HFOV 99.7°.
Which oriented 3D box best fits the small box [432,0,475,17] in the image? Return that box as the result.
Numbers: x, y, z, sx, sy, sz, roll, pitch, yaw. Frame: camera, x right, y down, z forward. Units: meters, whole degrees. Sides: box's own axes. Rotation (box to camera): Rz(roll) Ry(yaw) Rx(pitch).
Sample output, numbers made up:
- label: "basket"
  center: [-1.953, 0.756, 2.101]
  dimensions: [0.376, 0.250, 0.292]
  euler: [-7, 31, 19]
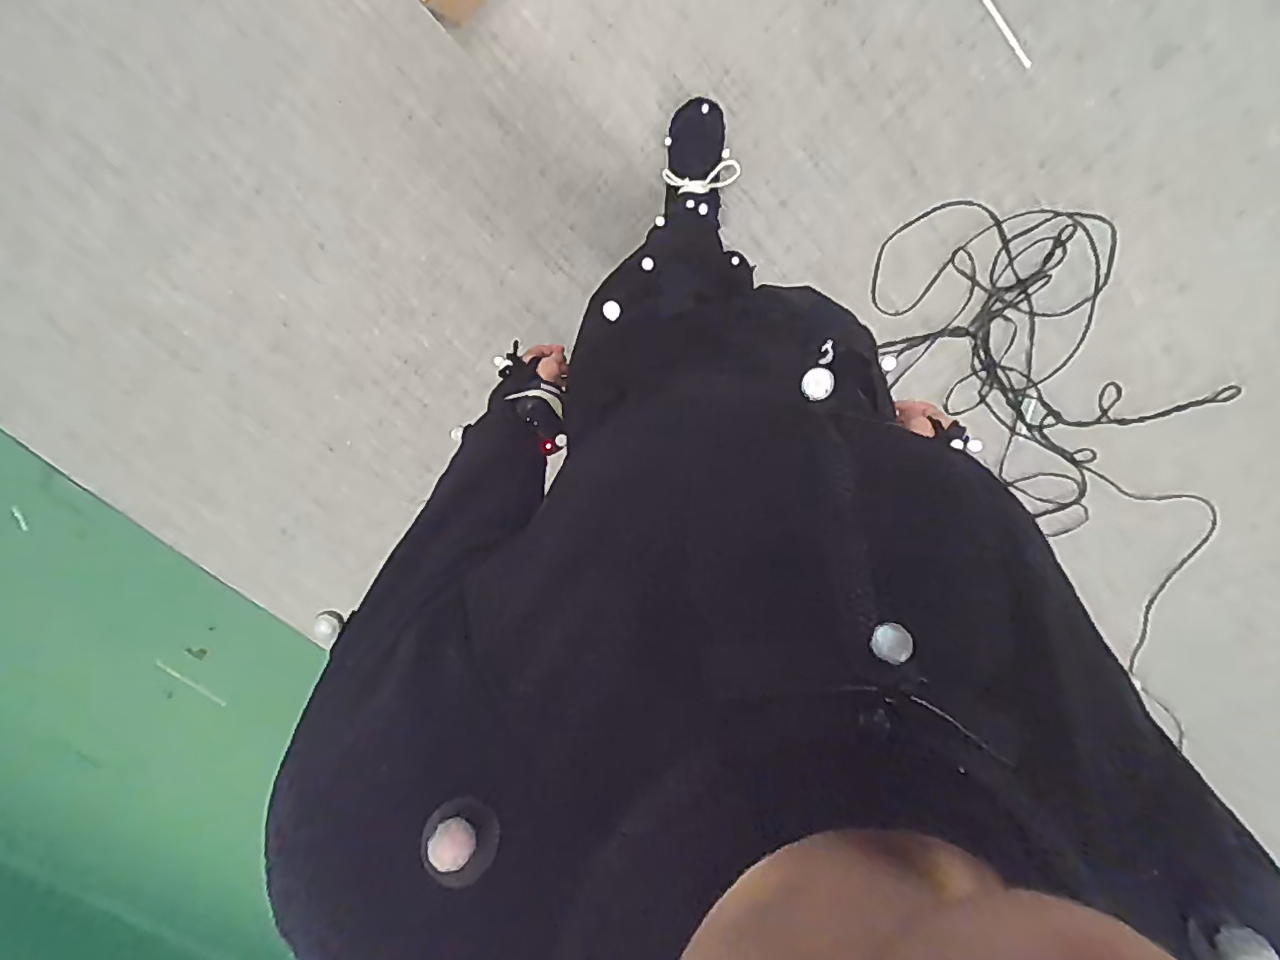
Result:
- label: "small box"
  center: [-0.349, -0.952, 0.924]
  dimensions: [0.179, 0.176, 0.168]
  euler: [-35, 109, 24]
